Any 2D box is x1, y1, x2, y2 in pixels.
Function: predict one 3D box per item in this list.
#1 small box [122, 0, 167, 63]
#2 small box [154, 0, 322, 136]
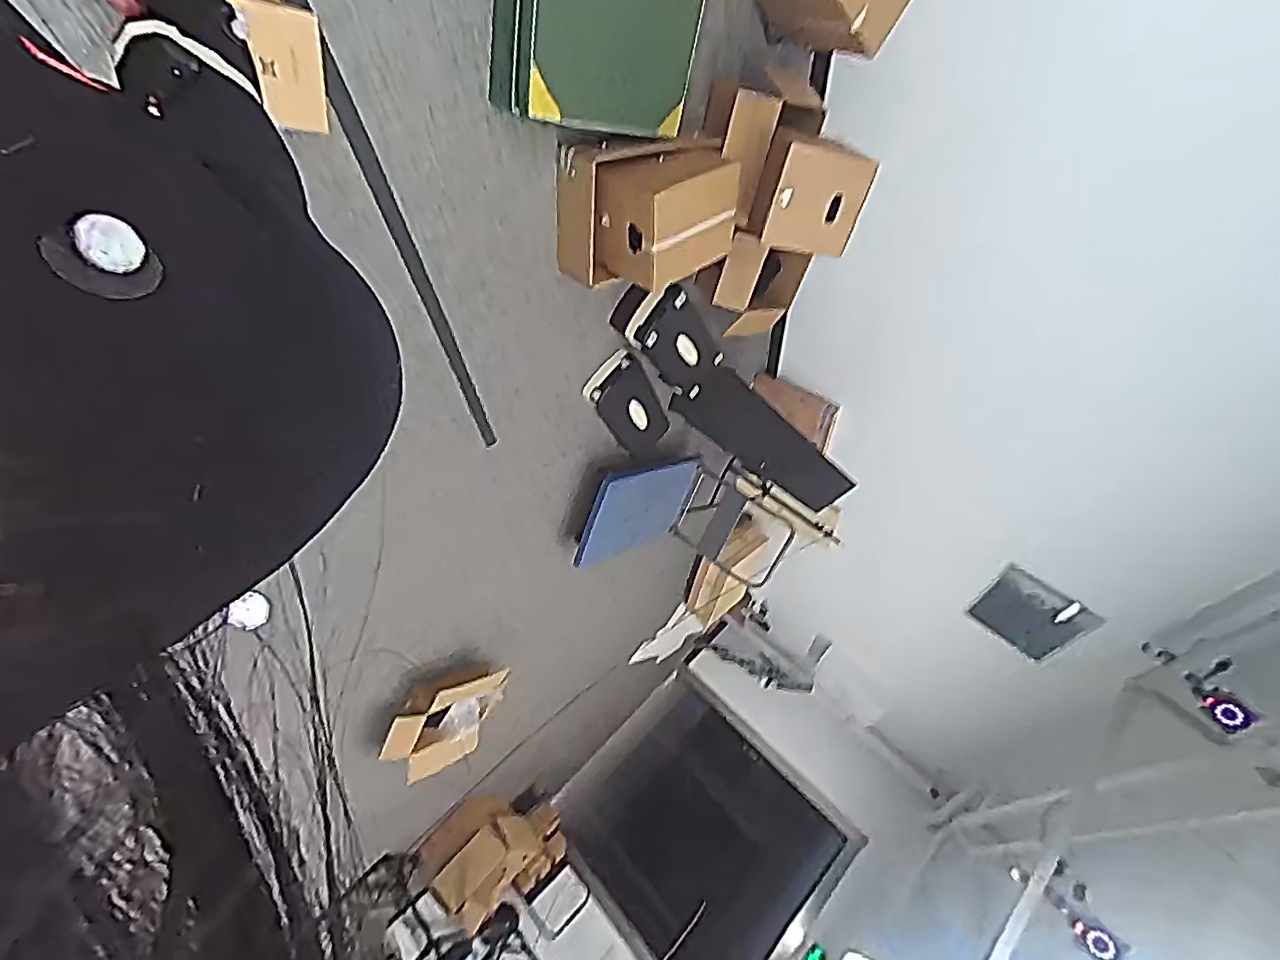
[{"bbox_3d":[-0.767,-0.790,0.964,0.168,0.176,0.179,-53,152,5],"label":"small box"},{"bbox_3d":[-0.659,-0.692,0.890,0.179,0.176,0.168,-25,144,-43],"label":"small box"}]
